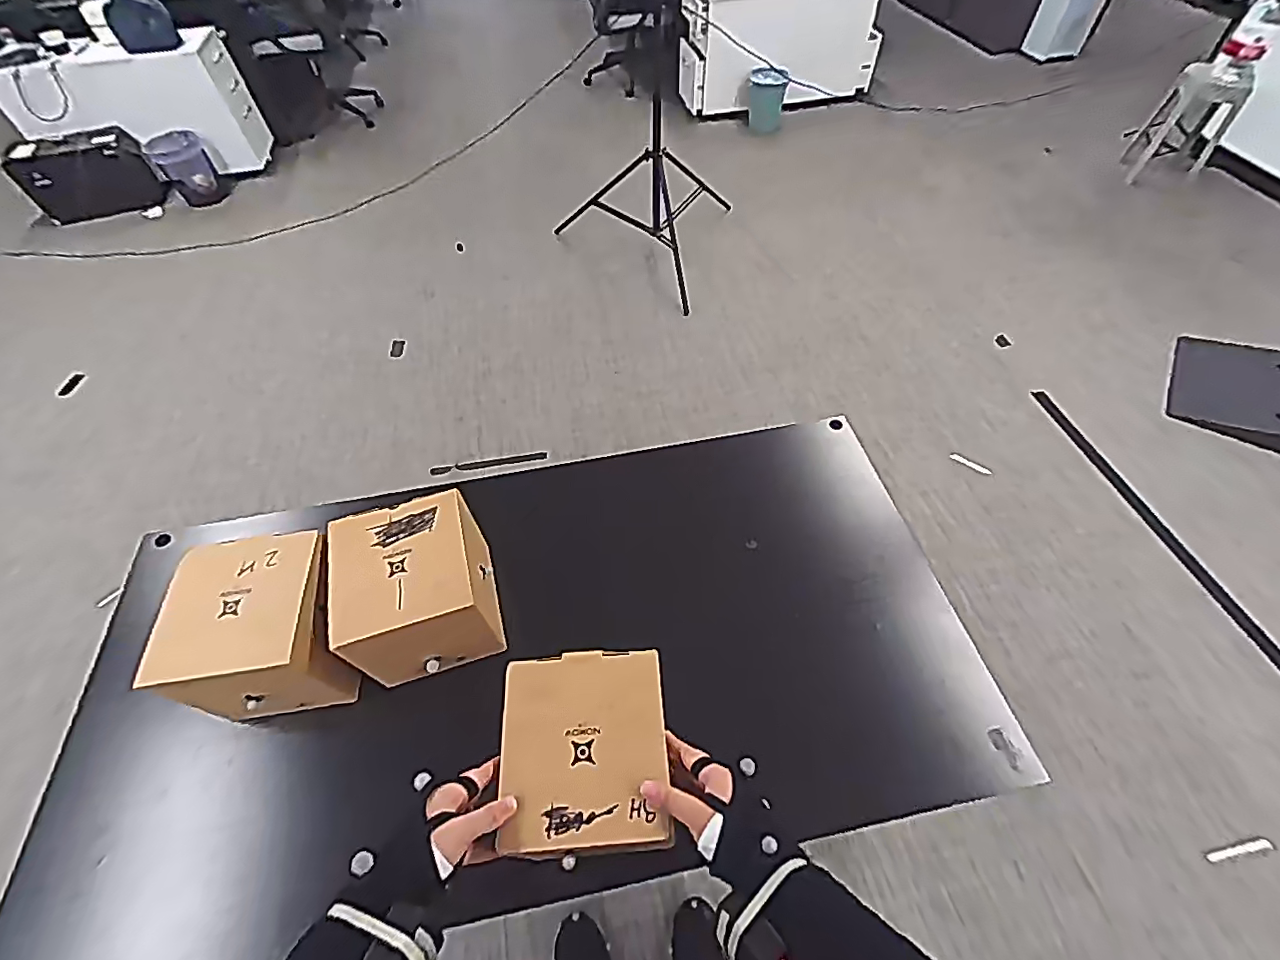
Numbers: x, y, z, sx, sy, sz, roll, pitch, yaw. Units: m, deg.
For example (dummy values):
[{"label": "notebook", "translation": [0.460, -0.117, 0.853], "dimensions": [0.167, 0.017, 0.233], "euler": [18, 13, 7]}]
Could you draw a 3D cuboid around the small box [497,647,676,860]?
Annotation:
[{"label": "small box", "translation": [-0.051, 0.307, 0.604], "dimensions": [0.168, 0.176, 0.179], "euler": [-6, 53, 0]}]

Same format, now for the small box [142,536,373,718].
[{"label": "small box", "translation": [-0.472, 0.198, 0.704], "dimensions": [0.168, 0.176, 0.179], "euler": [-8, 54, -4]}]
